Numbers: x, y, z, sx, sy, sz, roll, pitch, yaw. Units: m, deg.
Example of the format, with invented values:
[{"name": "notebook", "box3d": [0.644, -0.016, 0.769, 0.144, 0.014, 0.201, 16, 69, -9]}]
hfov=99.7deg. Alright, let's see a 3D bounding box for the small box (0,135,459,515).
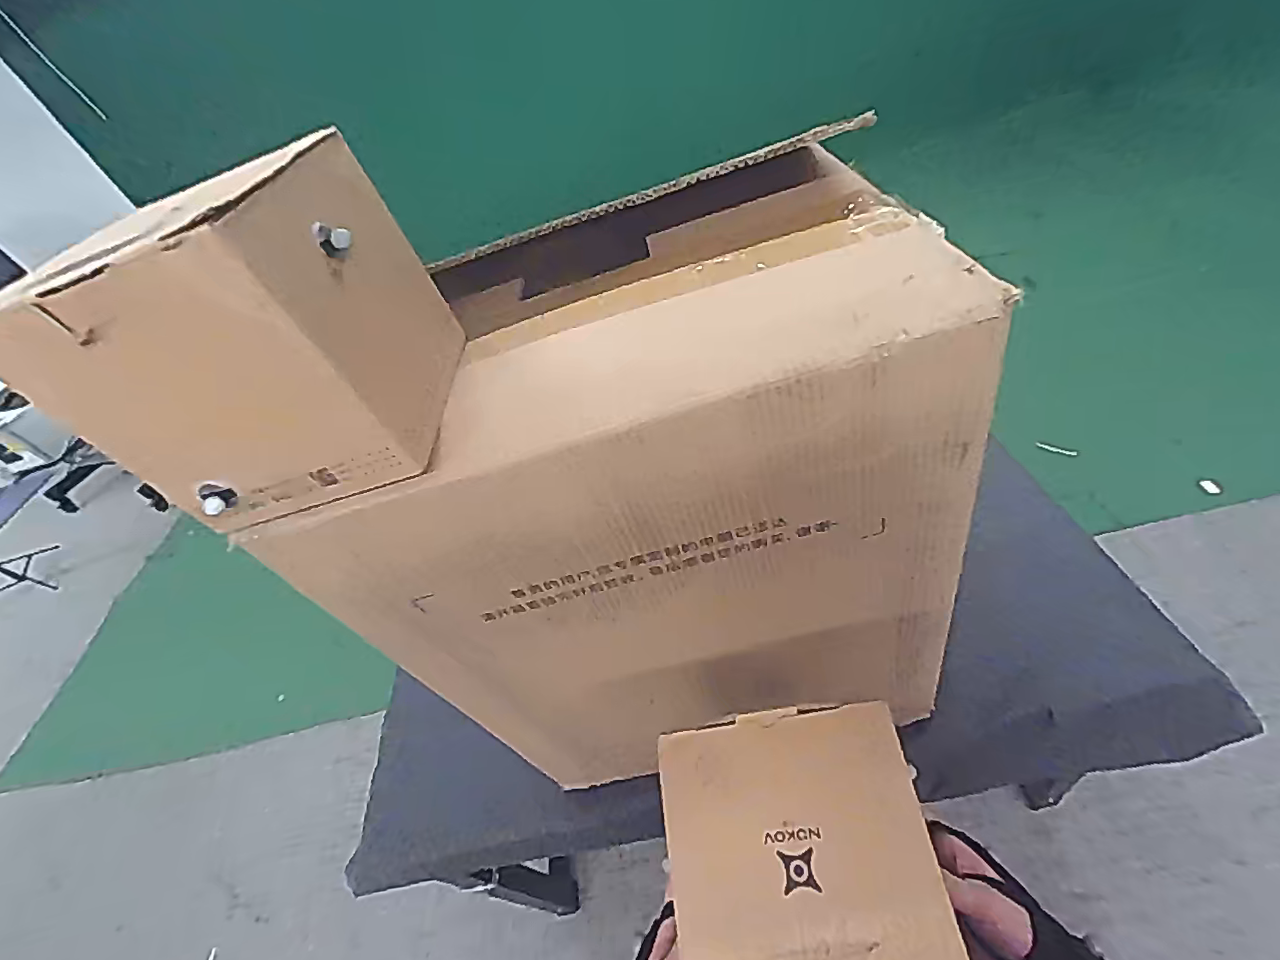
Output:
[{"name": "small box", "box3d": [-0.248, -0.095, 0.371, 0.168, 0.176, 0.179, -15, 44, 10]}]
